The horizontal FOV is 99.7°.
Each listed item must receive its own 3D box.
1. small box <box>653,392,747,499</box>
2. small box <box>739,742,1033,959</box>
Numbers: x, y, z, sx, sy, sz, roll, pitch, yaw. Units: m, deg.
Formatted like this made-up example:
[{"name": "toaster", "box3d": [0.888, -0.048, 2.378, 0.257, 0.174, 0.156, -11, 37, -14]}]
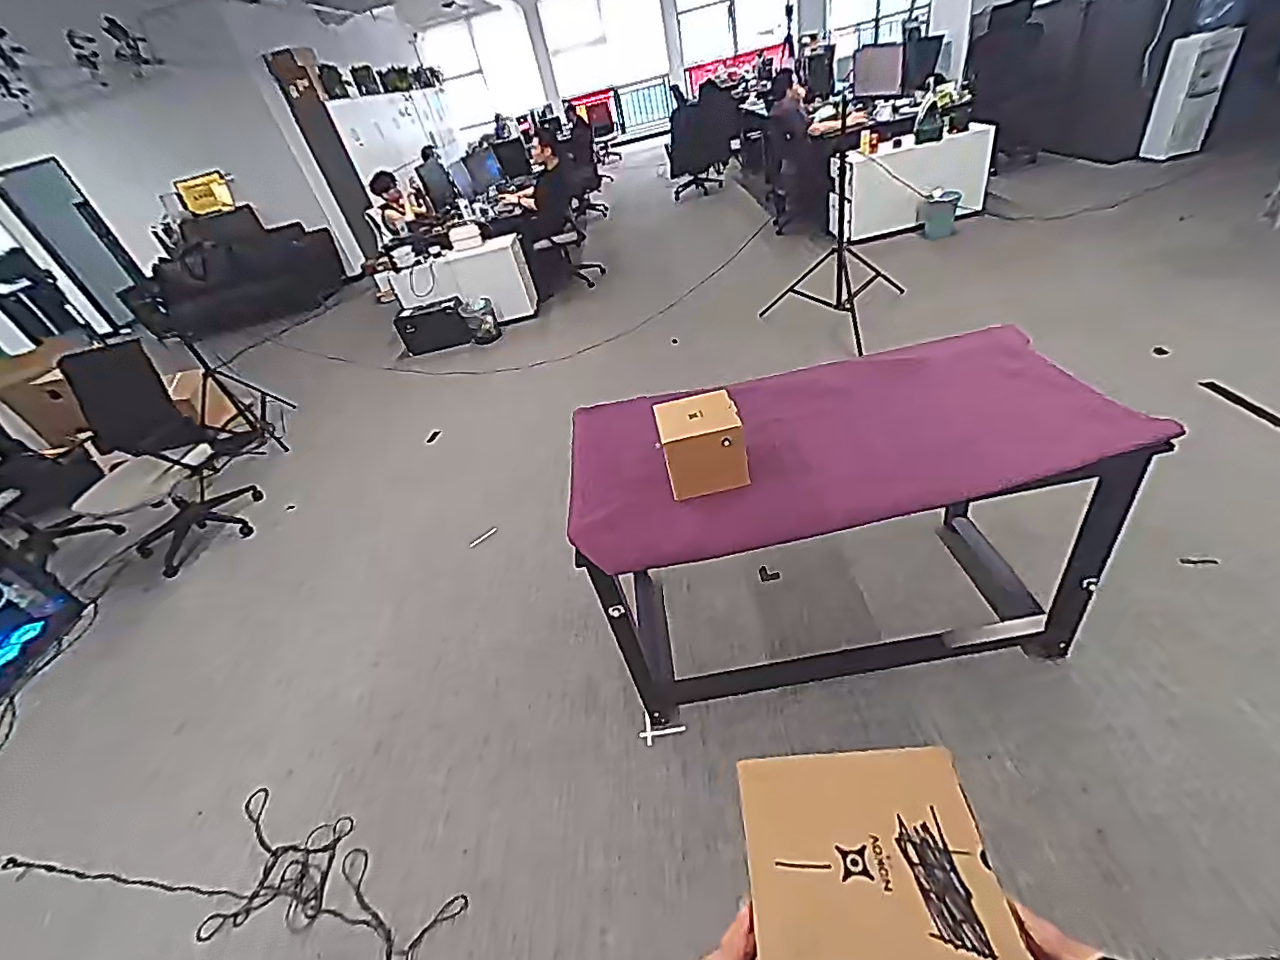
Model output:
[{"name": "small box", "box3d": [0.139, -0.077, 1.247, 0.179, 0.176, 0.168, -13, 37, 2]}, {"name": "small box", "box3d": [0.184, 0.343, 0.450, 0.179, 0.176, 0.168, -9, 36, 9]}]
